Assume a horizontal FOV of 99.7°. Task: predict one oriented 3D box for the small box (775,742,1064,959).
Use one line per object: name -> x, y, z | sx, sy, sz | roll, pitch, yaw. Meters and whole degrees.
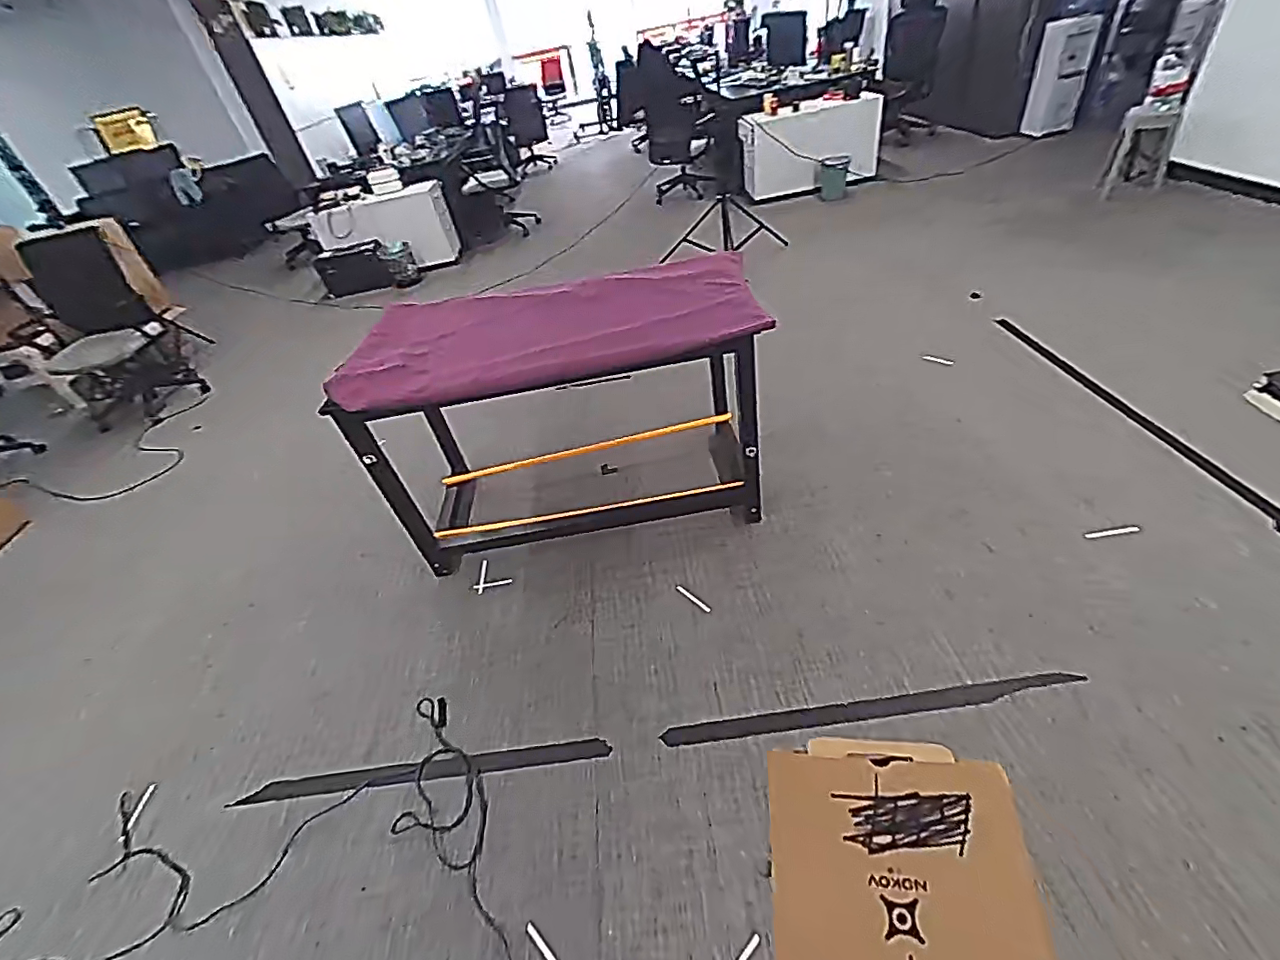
small box -> 0.191, 0.318, 0.411 | 0.168, 0.176, 0.179 | -4, 51, 15
